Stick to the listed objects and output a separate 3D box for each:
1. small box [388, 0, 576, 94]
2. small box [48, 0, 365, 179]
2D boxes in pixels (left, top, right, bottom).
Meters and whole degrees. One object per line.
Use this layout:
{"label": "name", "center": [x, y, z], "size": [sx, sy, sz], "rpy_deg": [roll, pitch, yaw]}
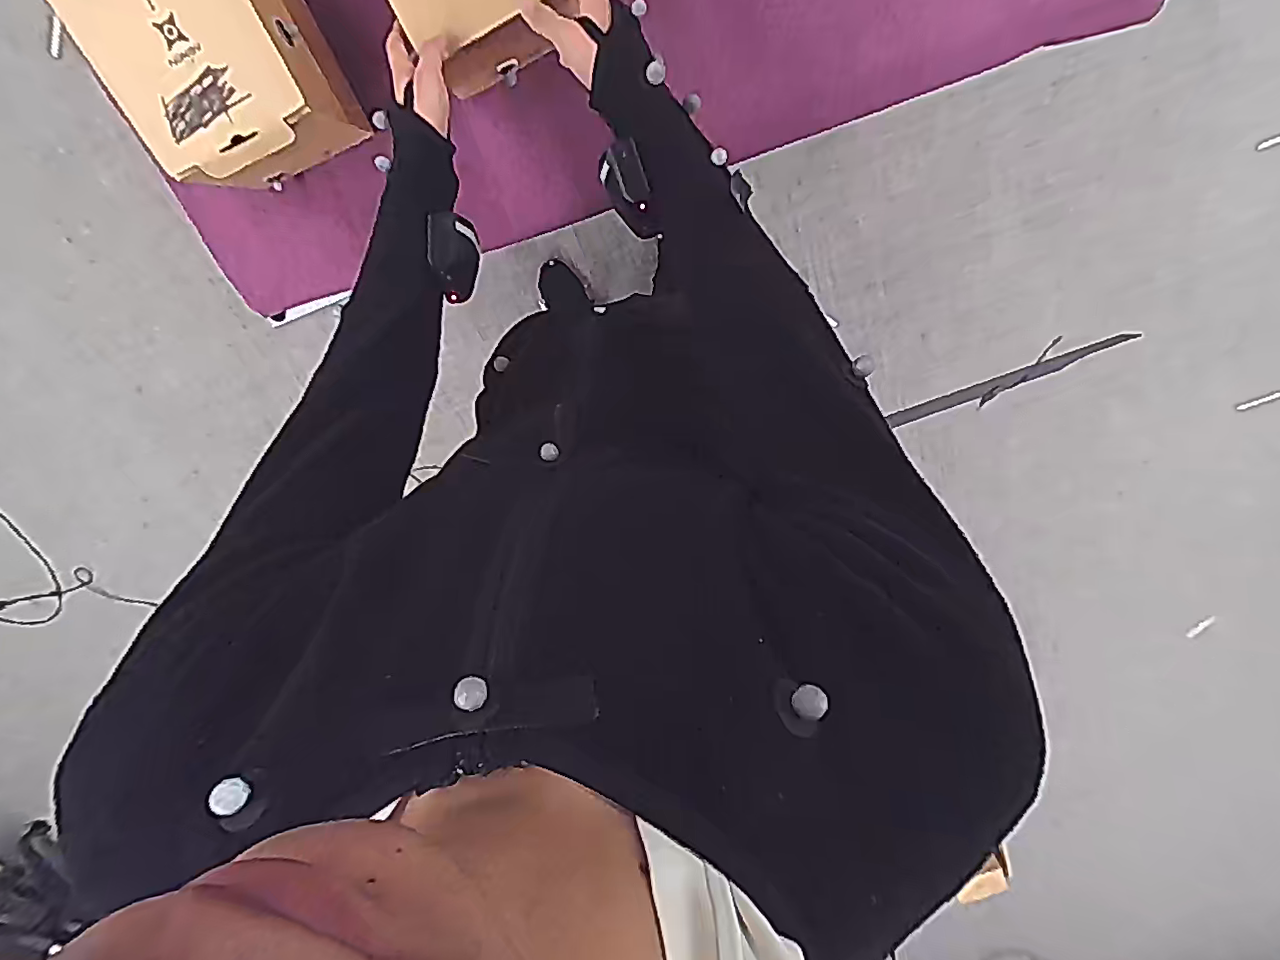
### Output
{"label": "small box", "center": [-0.177, -0.535, 0.546], "size": [0.168, 0.176, 0.179], "rpy_deg": [-24, 115, 9]}
{"label": "small box", "center": [-0.433, -0.440, 0.572], "size": [0.168, 0.176, 0.179], "rpy_deg": [-22, 114, 6]}
